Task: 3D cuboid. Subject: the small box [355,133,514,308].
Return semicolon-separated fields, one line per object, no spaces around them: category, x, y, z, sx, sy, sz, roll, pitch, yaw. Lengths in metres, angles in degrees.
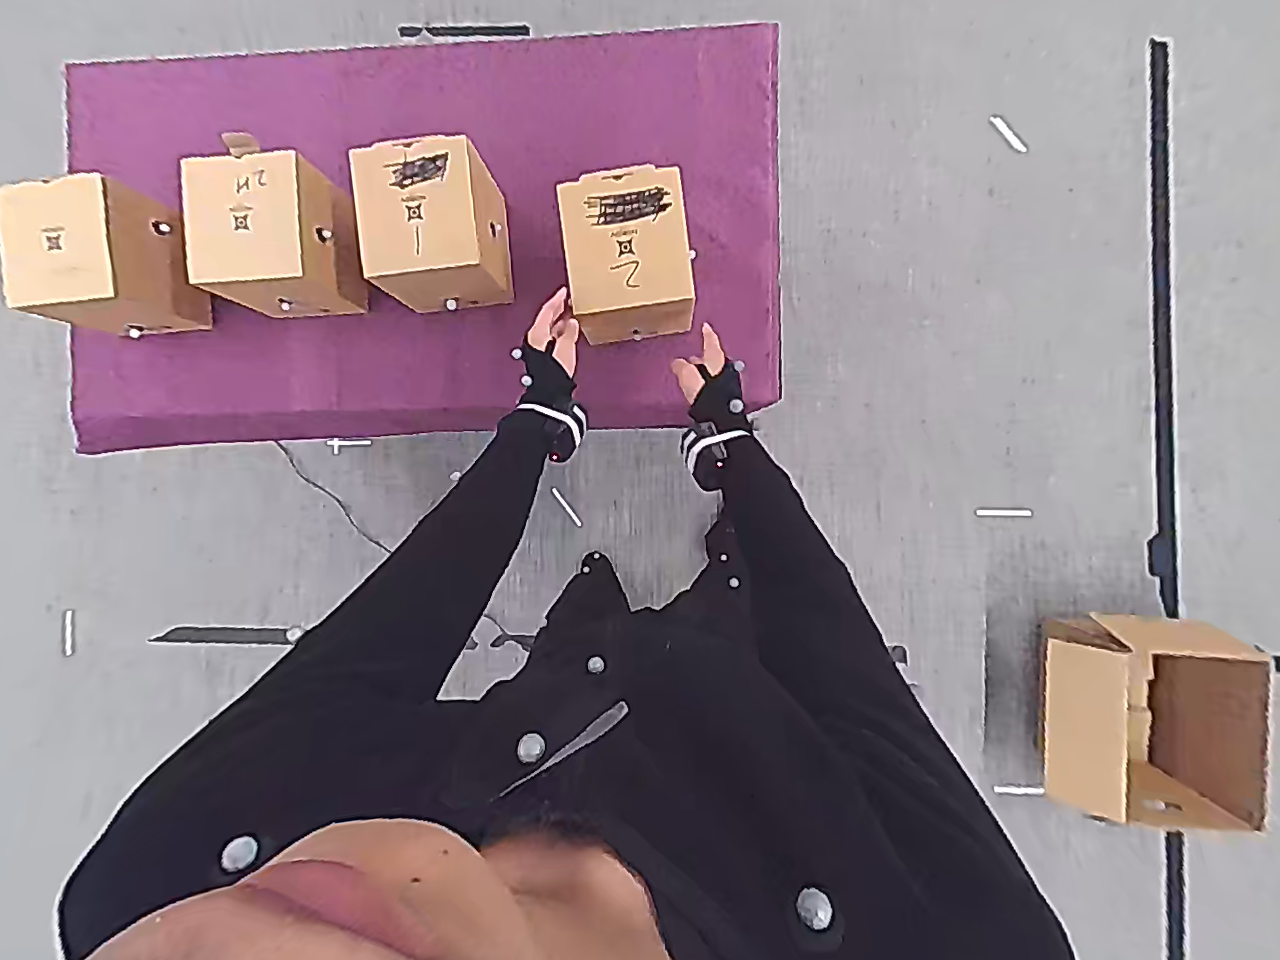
small box;-0.297;-0.378;0.814;0.168;0.176;0.179;-6;91;3

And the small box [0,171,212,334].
small box;-0.812;-0.341;0.839;0.168;0.176;0.179;-4;90;3

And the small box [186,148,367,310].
small box;-0.539;-0.367;0.825;0.168;0.176;0.179;-2;90;2
